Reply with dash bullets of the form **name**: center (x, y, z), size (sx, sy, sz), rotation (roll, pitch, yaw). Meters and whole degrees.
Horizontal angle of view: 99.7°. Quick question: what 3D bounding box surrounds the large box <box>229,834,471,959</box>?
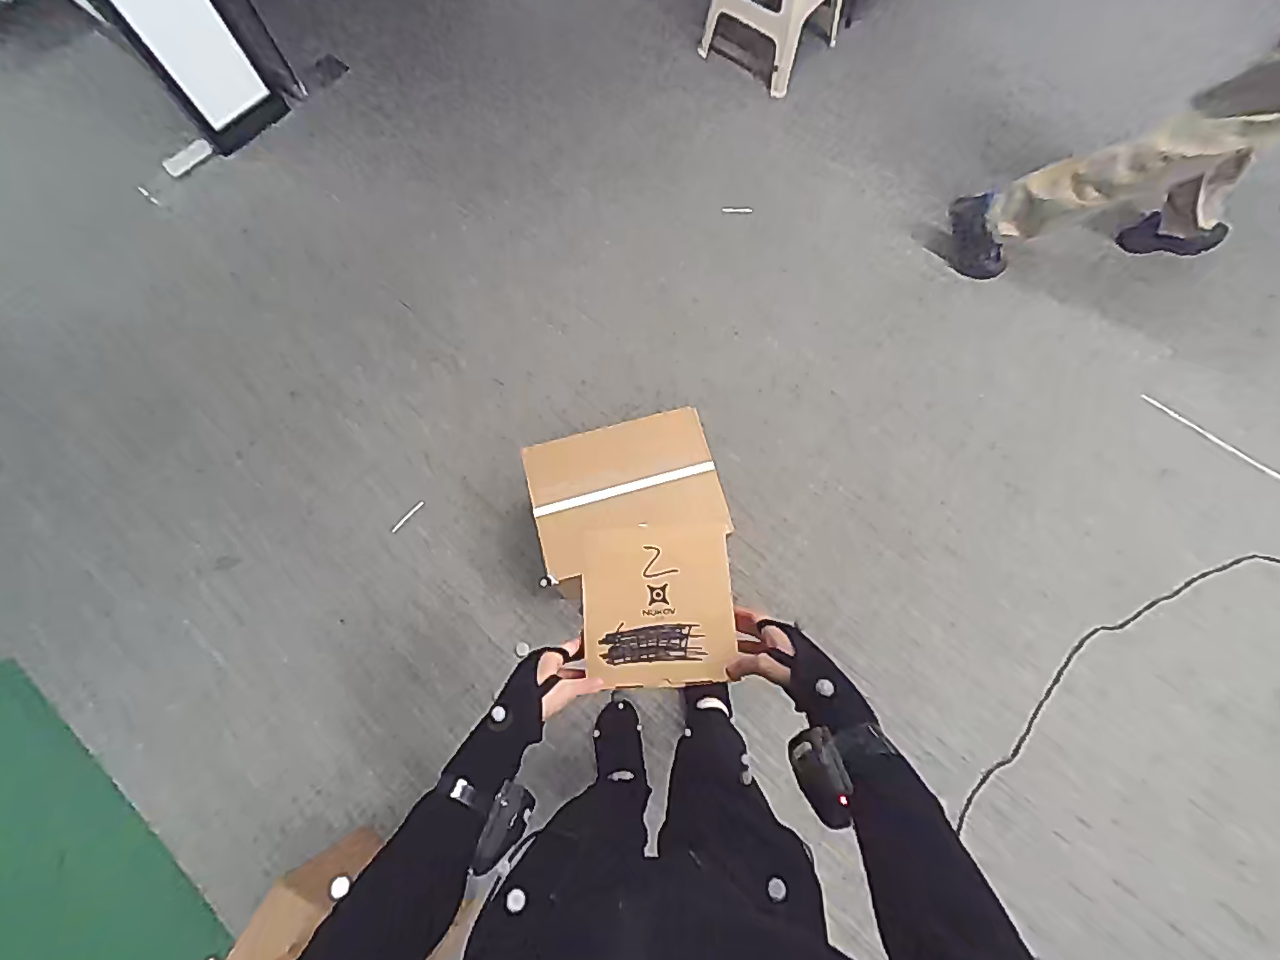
- **large box**: center (-0.583, 0.977, 1.004), size (0.320, 0.320, 0.408), rotation (25, 74, 9)
